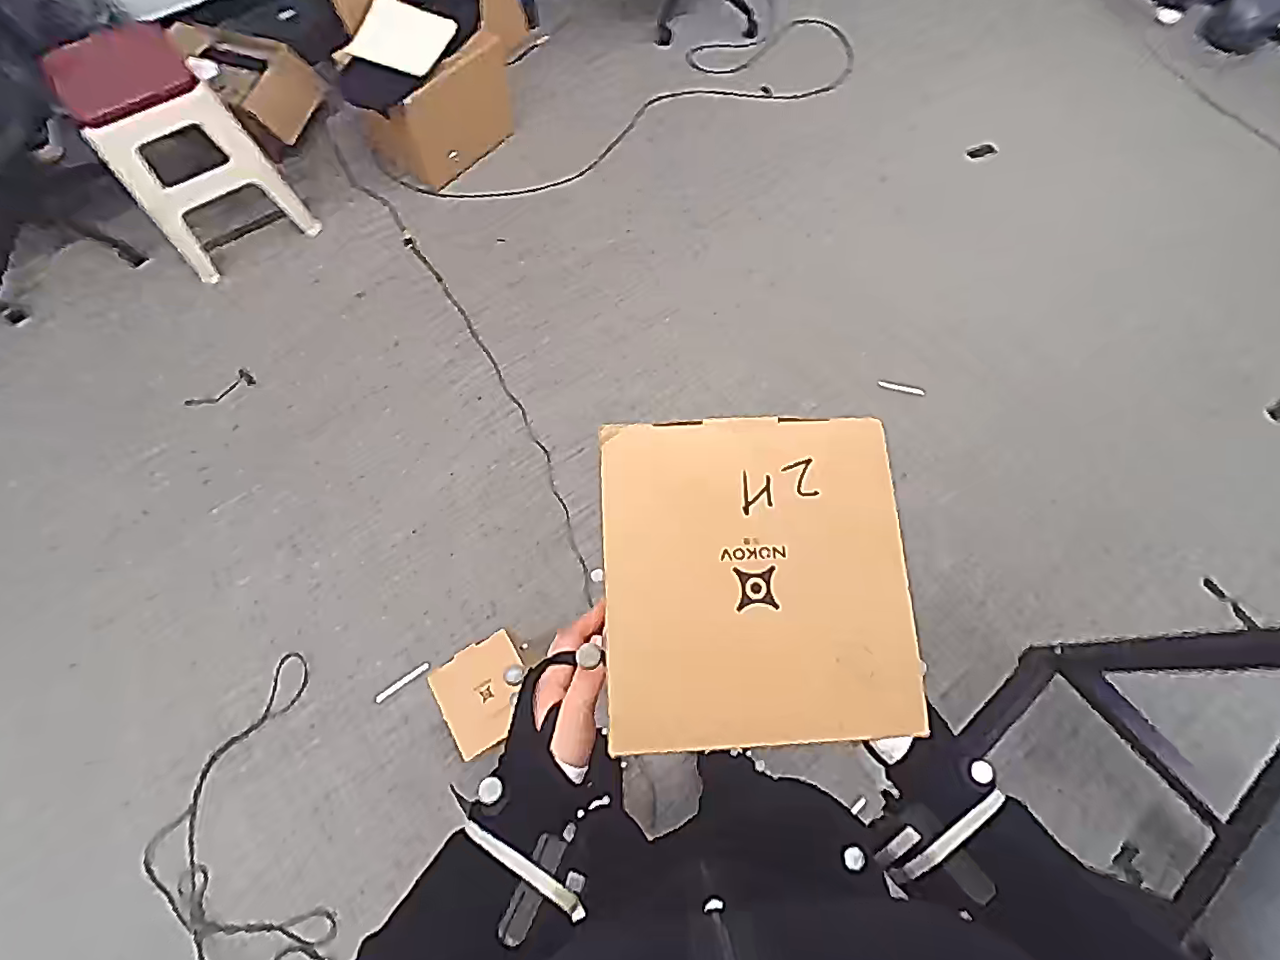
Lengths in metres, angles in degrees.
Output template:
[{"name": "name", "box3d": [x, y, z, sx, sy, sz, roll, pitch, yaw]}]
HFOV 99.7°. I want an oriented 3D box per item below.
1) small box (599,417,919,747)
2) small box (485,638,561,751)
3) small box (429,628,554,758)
[{"name": "small box", "box3d": [0.058, 0.067, 0.376, 0.168, 0.176, 0.179, -2, 76, -4]}, {"name": "small box", "box3d": [-0.297, 0.484, 1.232, 0.179, 0.176, 0.168, -34, 74, -13]}, {"name": "small box", "box3d": [-0.288, 0.421, 1.080, 0.168, 0.176, 0.179, -30, 75, -12]}]
